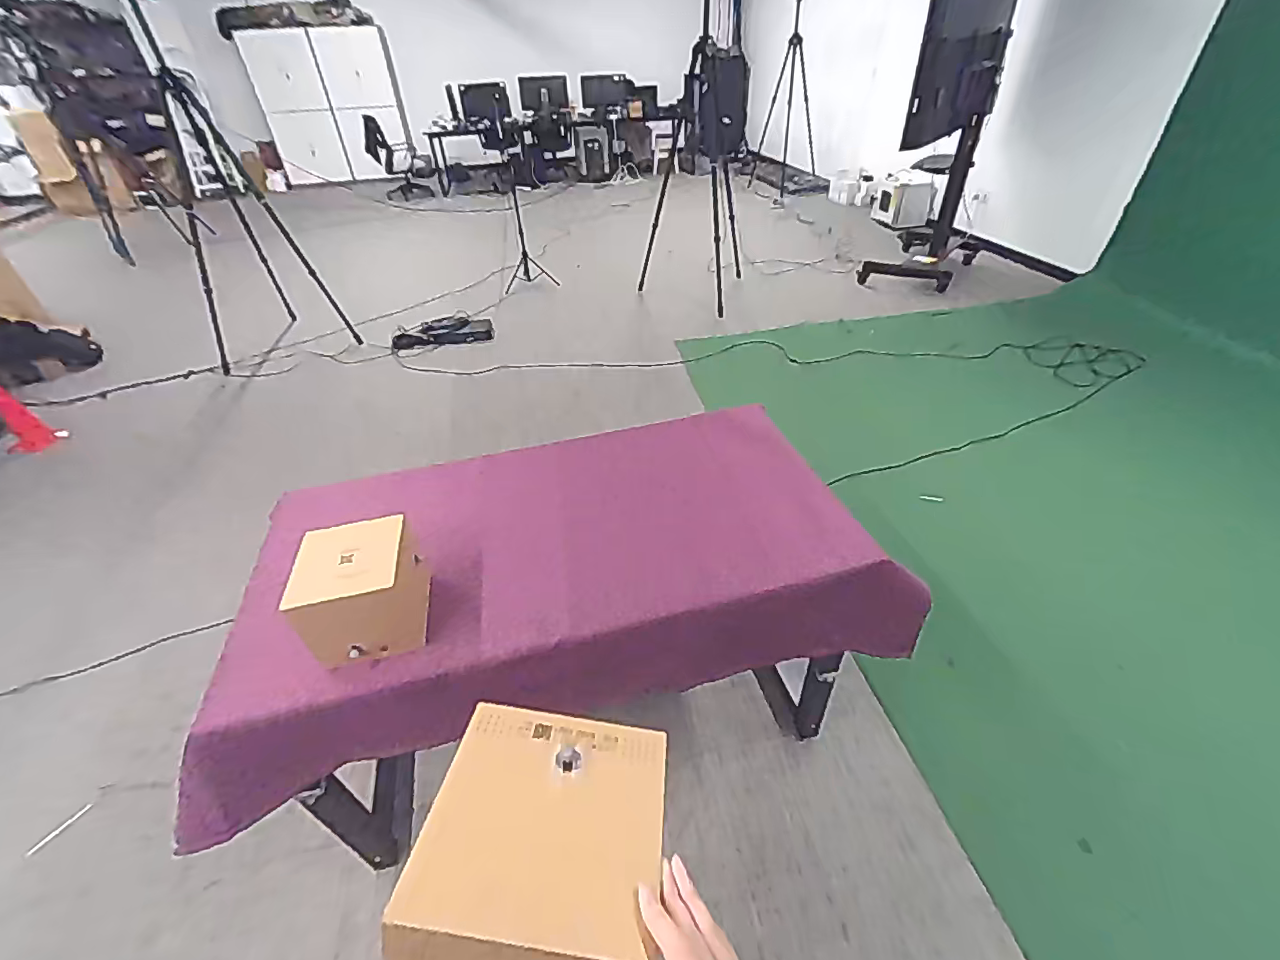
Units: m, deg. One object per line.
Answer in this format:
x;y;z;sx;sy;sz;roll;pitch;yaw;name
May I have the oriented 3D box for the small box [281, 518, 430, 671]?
-0.472;0.195;0.931;0.168;0.176;0.179;-11;40;-8;small box
